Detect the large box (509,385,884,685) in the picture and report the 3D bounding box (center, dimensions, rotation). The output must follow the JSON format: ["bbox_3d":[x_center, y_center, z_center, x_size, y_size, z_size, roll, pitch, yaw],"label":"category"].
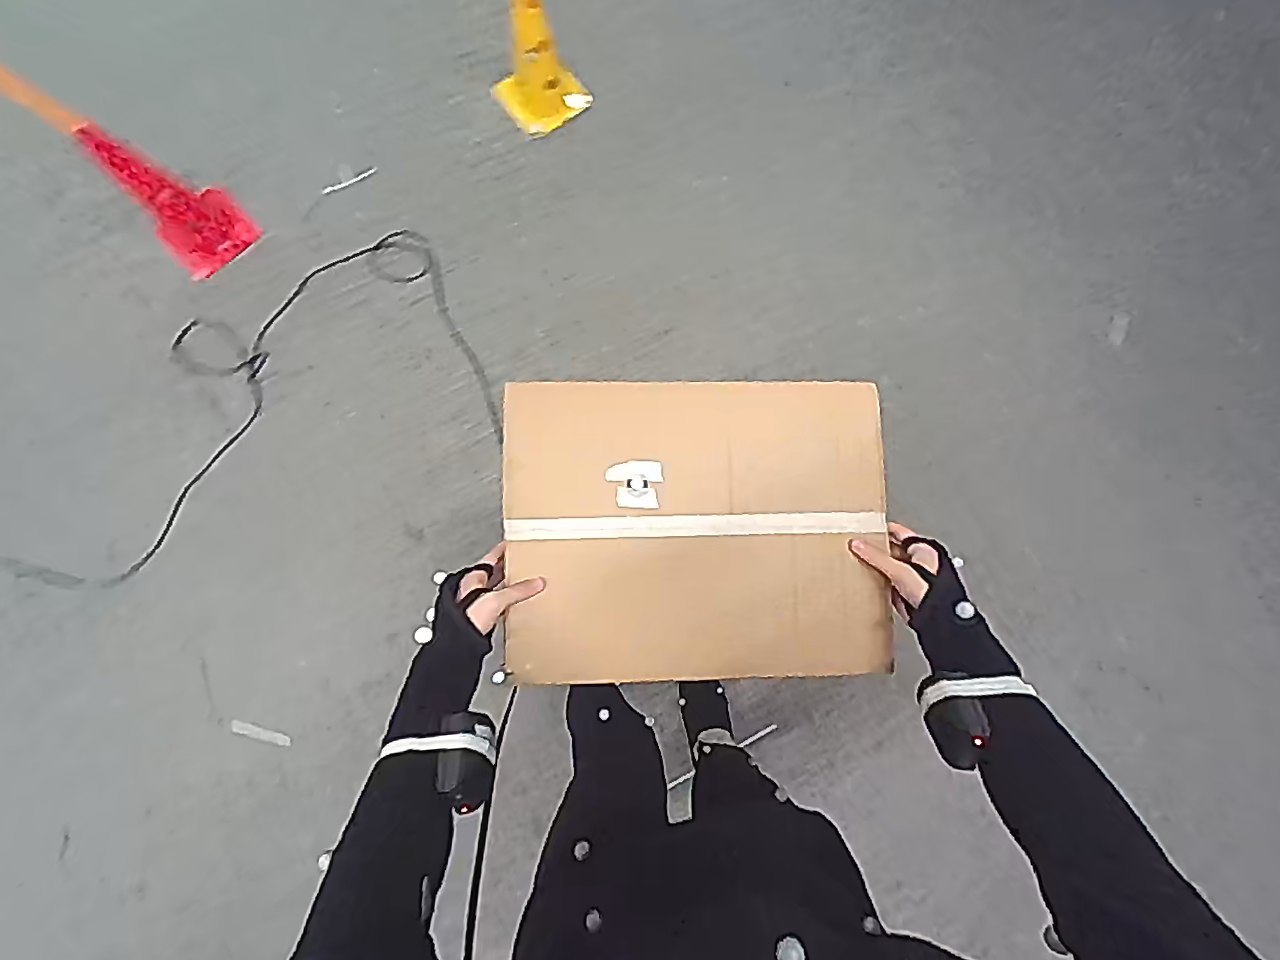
[{"bbox_3d":[0.057,0.067,0.737,0.408,0.320,0.320,-2,84,-2],"label":"large box"}]
